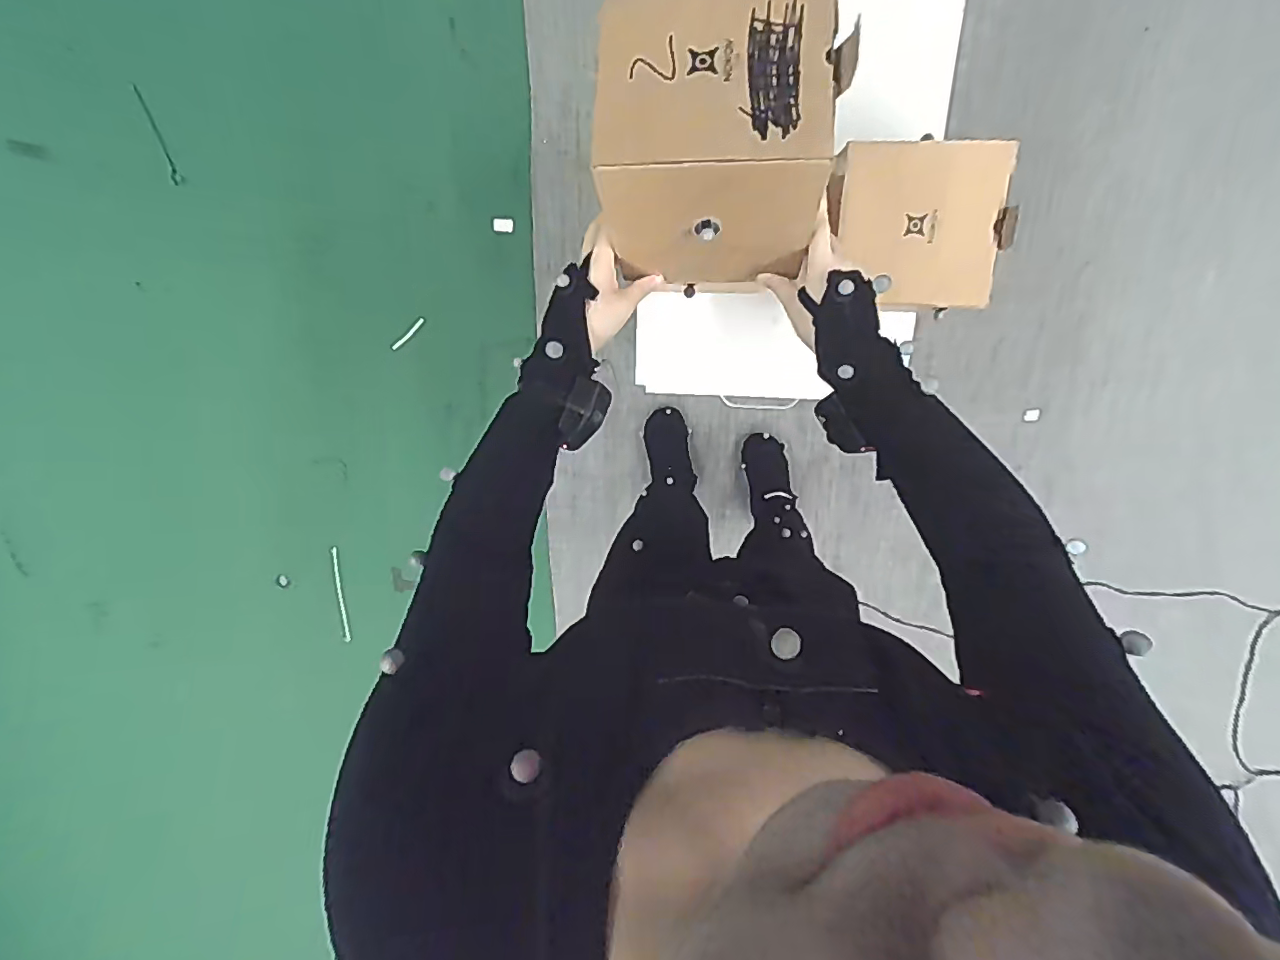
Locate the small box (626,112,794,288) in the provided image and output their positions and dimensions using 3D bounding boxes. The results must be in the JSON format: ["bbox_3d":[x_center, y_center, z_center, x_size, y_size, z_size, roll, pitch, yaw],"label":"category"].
[{"bbox_3d":[0.079,-0.328,0.665,0.179,0.176,0.168,2,107,3],"label":"small box"}]
